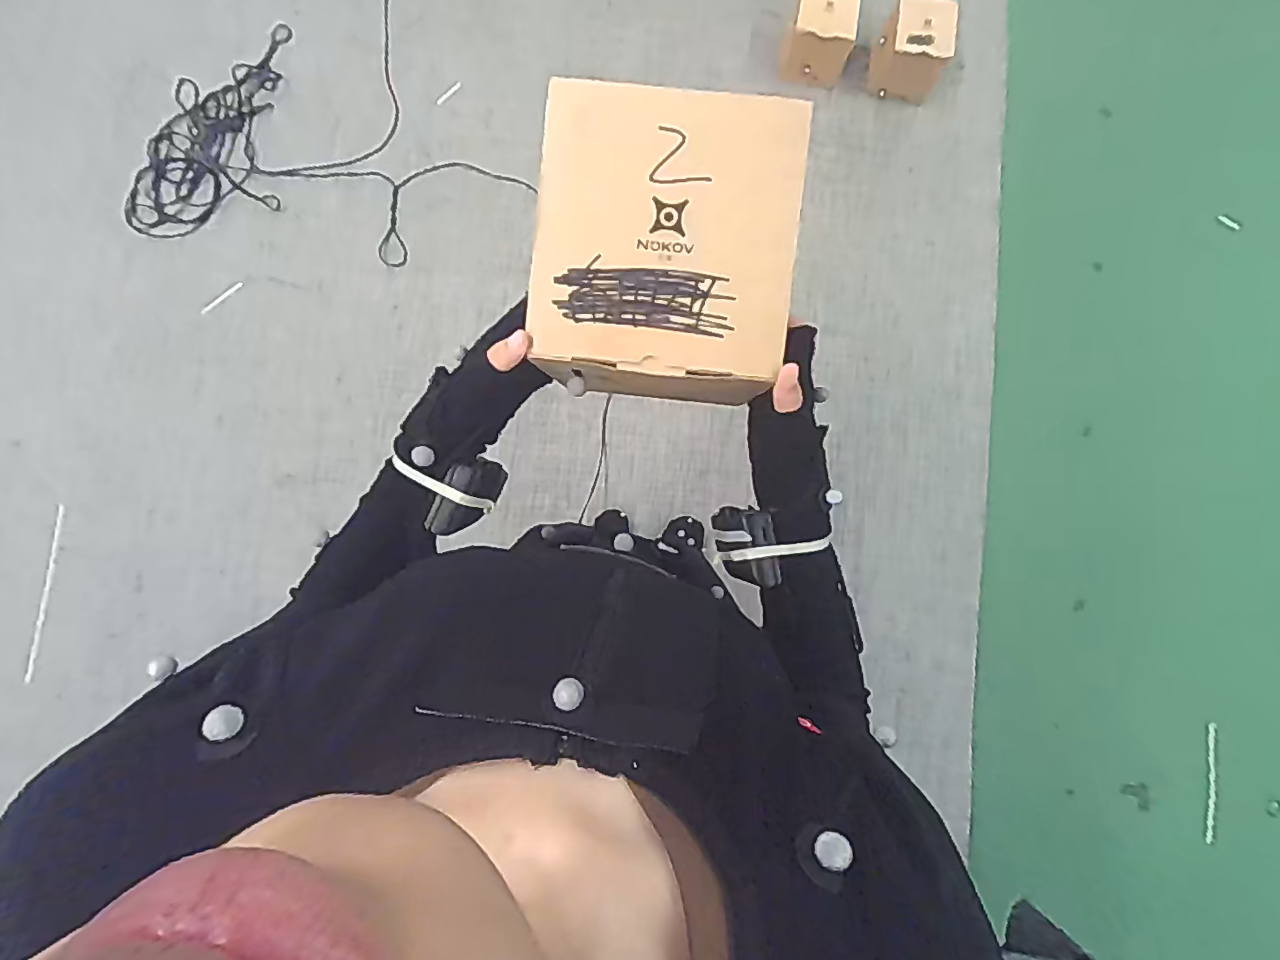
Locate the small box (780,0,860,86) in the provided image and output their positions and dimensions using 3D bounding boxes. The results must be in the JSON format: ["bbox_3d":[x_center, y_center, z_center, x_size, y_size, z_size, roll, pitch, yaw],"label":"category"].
[{"bbox_3d":[0.512,-1.289,1.551,0.168,0.176,0.179,9,85,-1],"label":"small box"}]

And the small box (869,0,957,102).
[{"bbox_3d":[0.777,-1.237,1.556,0.168,0.176,0.179,8,84,0],"label":"small box"}]
